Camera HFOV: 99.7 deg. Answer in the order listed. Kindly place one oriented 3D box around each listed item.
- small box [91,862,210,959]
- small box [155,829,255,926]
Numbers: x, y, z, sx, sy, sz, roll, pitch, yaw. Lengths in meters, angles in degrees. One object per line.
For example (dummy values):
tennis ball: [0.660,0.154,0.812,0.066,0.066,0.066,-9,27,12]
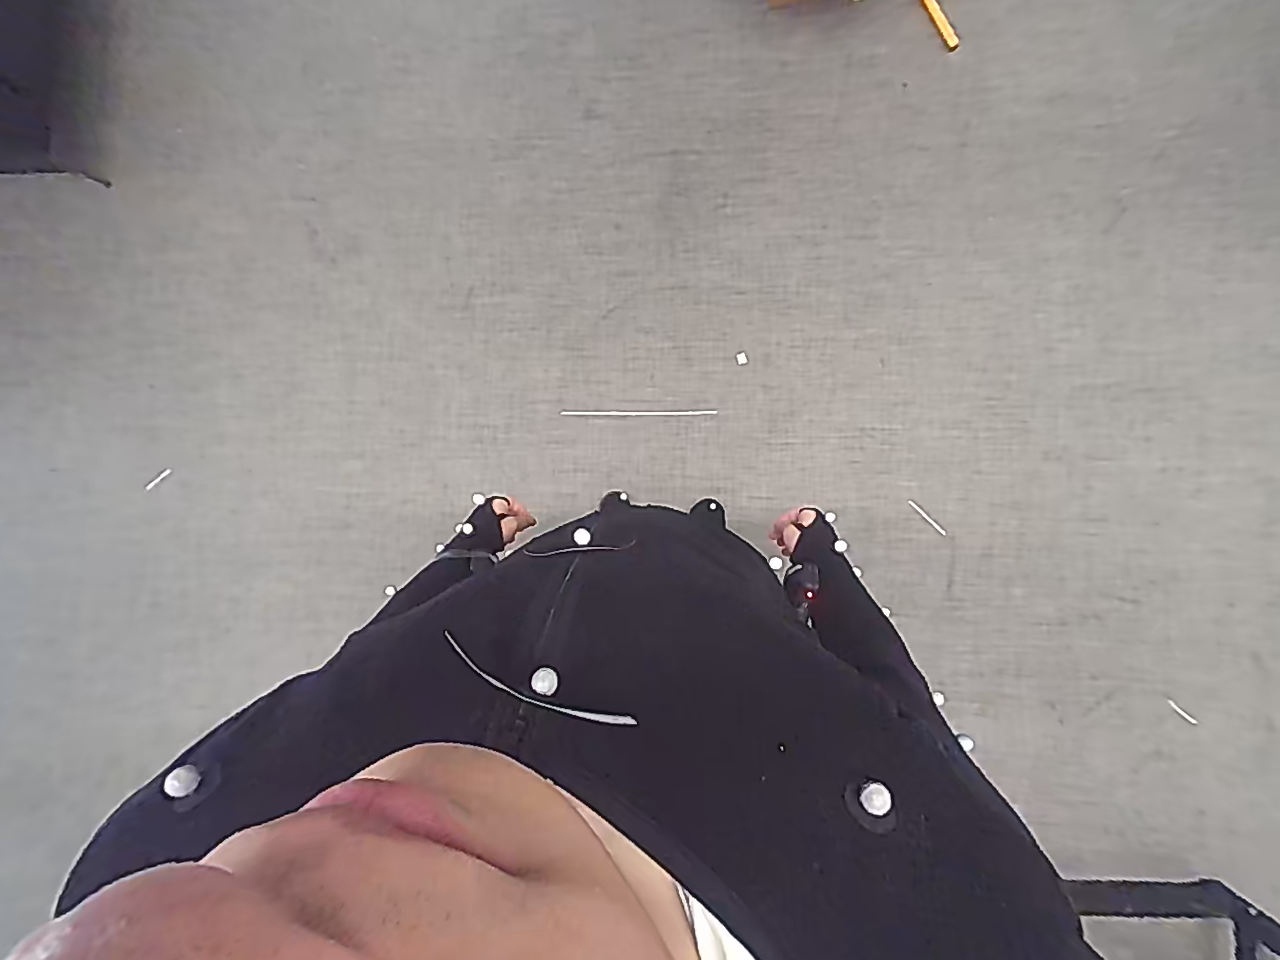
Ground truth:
small box: [-1.276,1.145,1.421,0.168,0.176,0.179,0,88,3]
small box: [-1.274,1.156,1.583,0.179,0.176,0.168,2,87,3]
